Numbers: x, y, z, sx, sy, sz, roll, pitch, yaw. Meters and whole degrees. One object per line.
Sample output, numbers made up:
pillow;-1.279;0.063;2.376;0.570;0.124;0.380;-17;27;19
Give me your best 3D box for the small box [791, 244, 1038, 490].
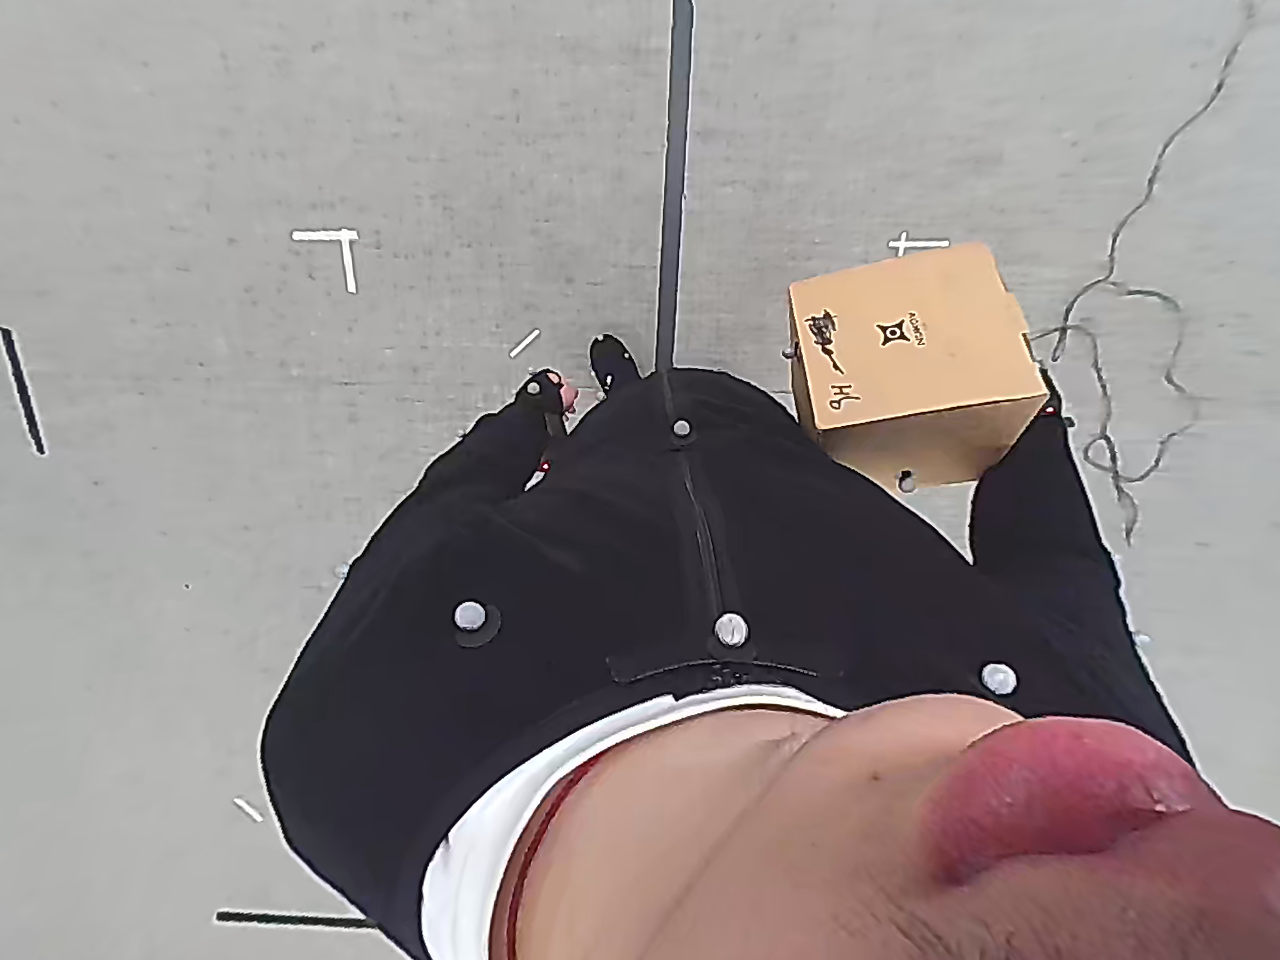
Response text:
small box;0.254;-0.102;0.554;0.179;0.176;0.168;-8;64;13
